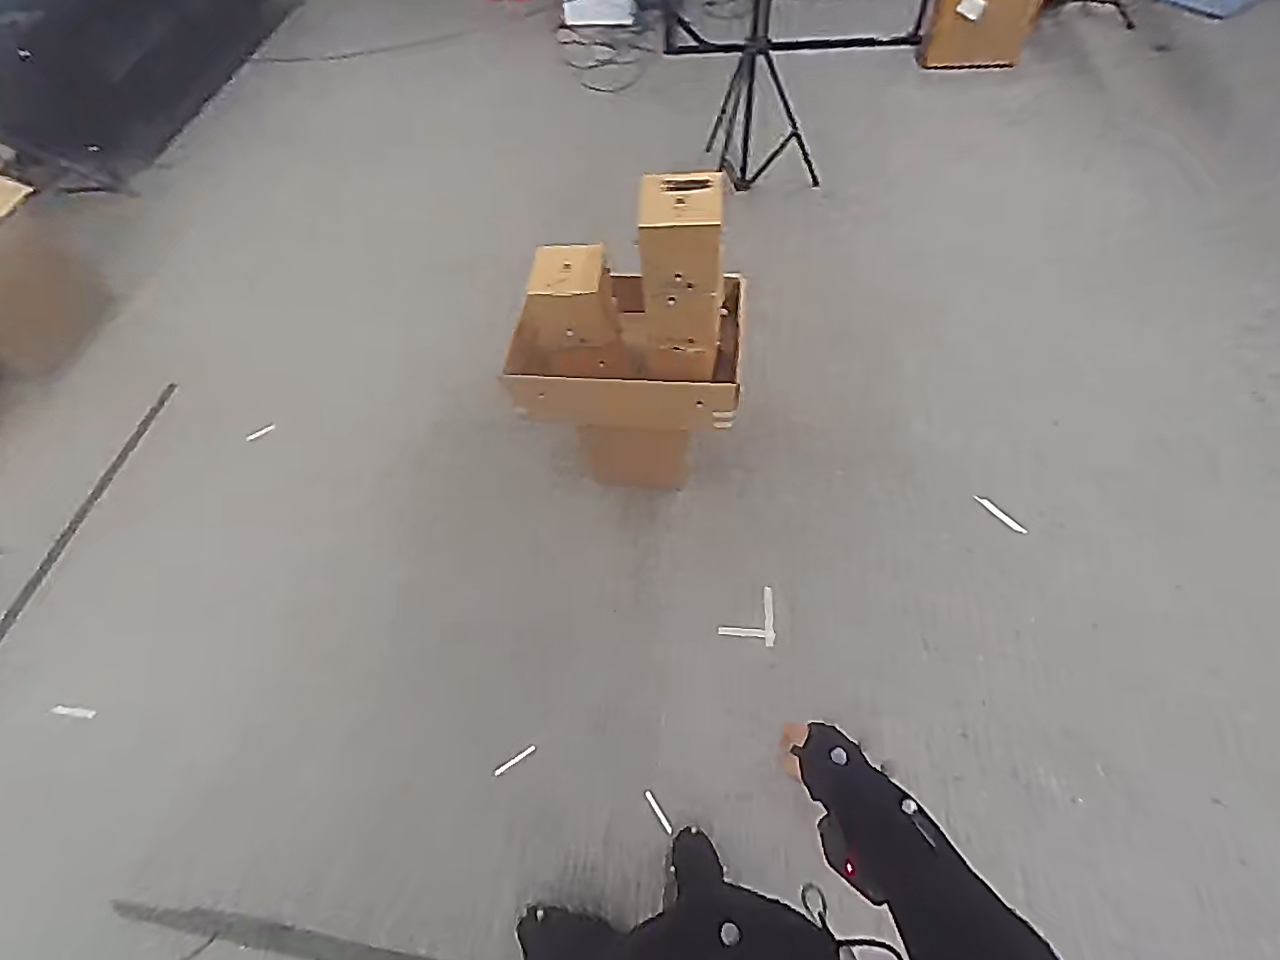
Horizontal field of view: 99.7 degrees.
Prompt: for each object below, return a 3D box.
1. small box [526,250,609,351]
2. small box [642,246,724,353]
[{"bbox_3d":[-0.170,-0.440,1.332,0.168,0.176,0.179,0,60,5],"label":"small box"},{"bbox_3d":[0.106,-0.433,1.297,0.168,0.176,0.179,7,60,10],"label":"small box"}]
